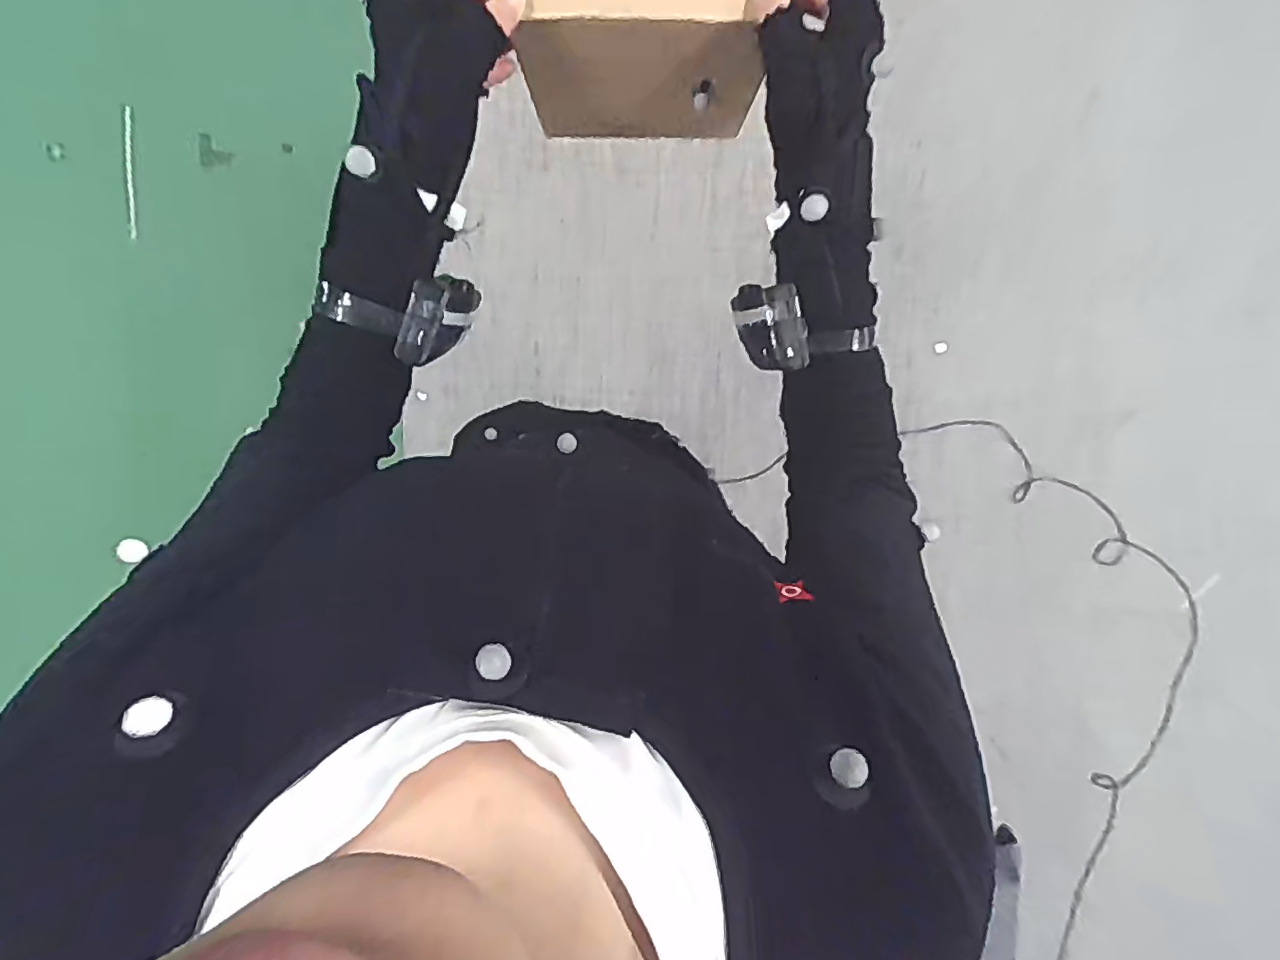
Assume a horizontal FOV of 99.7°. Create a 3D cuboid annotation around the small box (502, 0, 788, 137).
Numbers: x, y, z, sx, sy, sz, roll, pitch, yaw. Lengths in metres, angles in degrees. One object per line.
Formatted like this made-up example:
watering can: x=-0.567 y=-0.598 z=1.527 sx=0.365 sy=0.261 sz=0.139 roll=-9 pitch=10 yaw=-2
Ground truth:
small box: x=0.002 y=-0.374 z=0.392 sx=0.179 sy=0.176 sz=0.168 roll=-1 pitch=100 yaw=1
